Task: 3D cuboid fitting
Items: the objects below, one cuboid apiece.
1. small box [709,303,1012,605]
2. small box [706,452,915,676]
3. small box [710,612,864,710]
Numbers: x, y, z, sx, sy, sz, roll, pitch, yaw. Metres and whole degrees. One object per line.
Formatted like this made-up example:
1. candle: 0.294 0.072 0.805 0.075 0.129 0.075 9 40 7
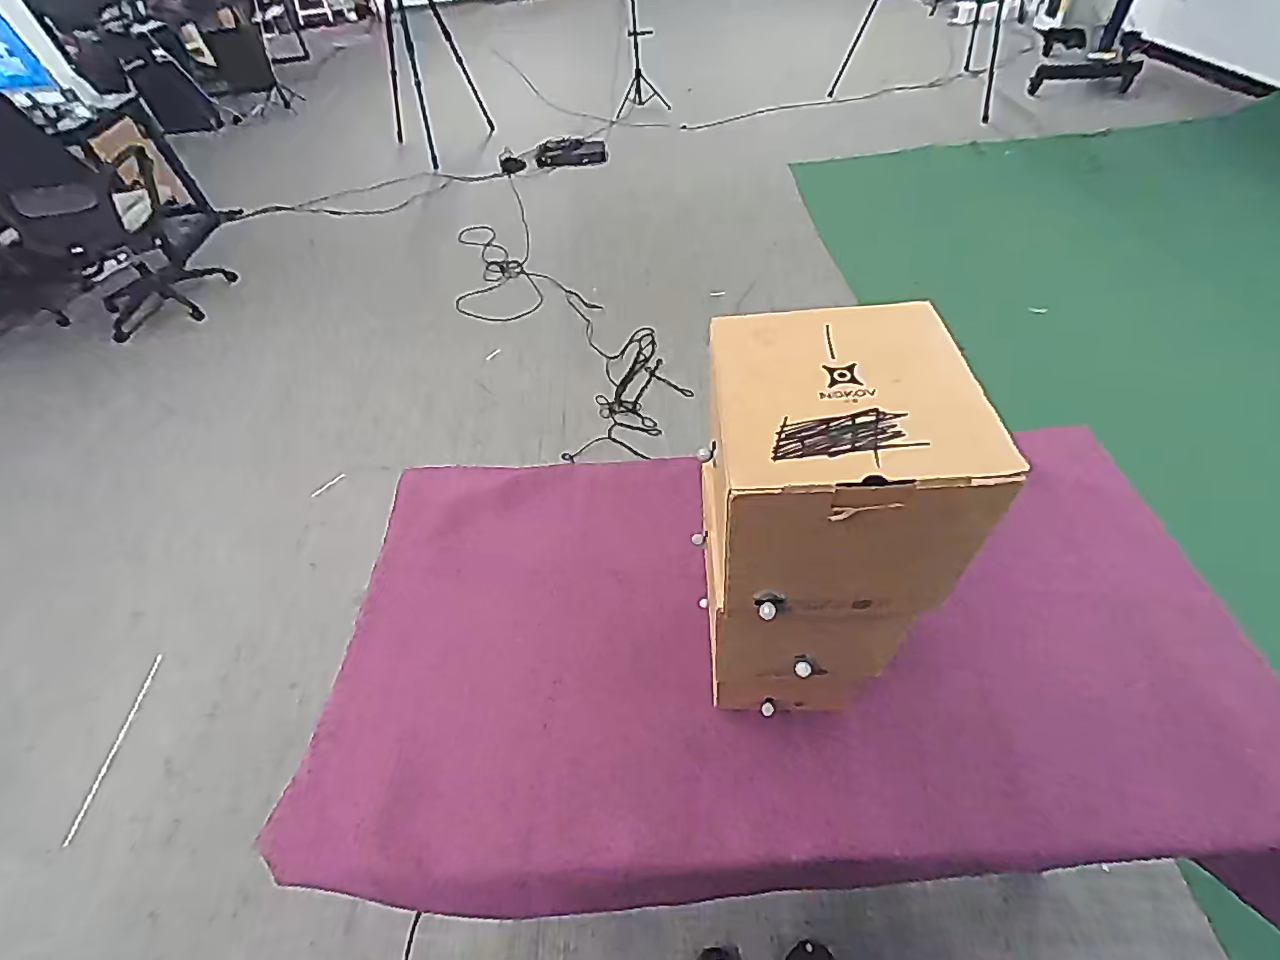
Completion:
1. small box: 0.142 -0.012 0.425 0.168 0.176 0.179 -3 49 6
2. small box: 0.154 0.085 0.557 0.168 0.176 0.179 -3 50 6
3. small box: 0.175 0.177 0.692 0.168 0.176 0.179 -2 51 6
